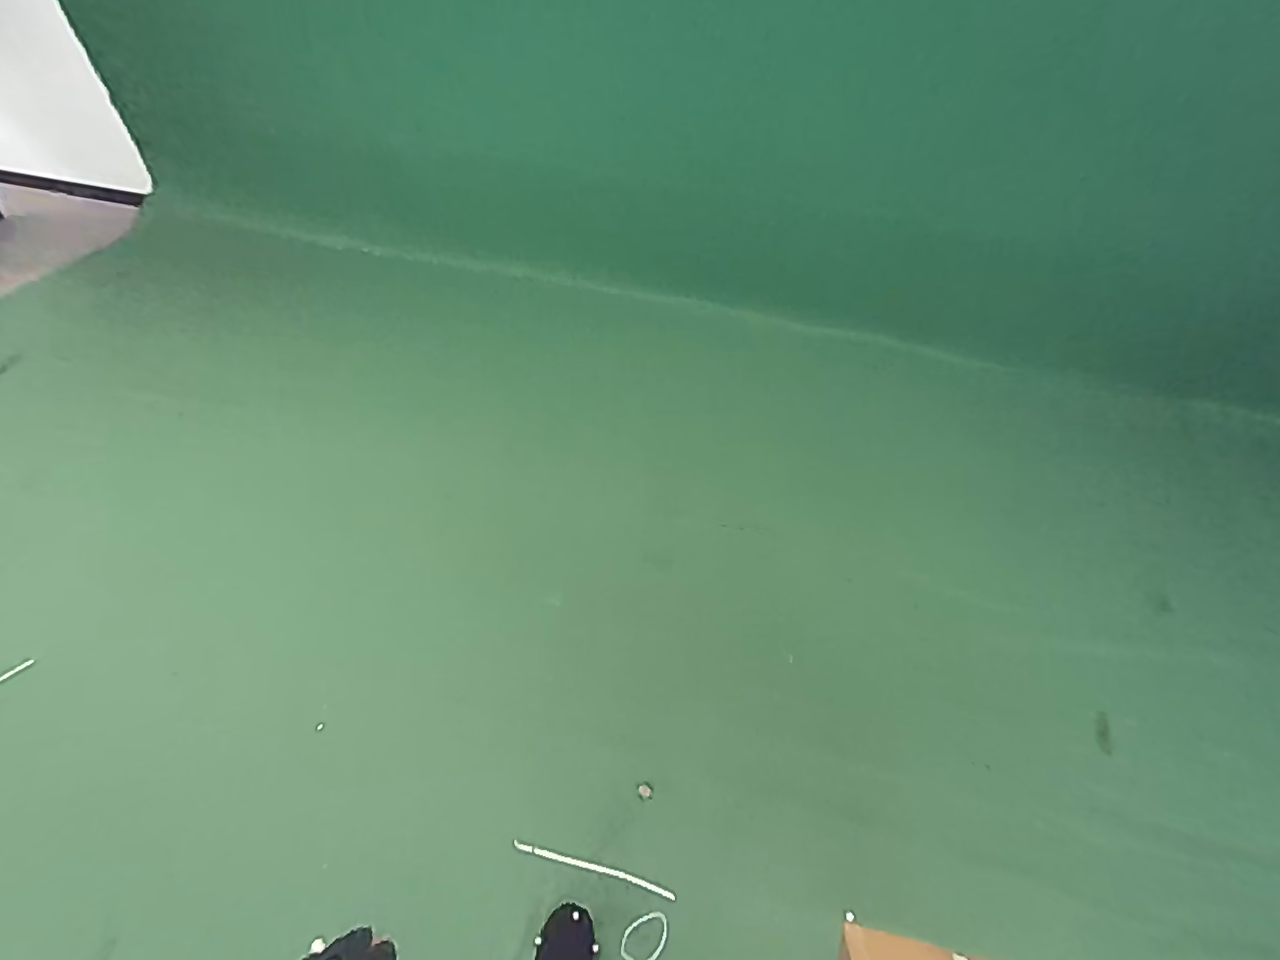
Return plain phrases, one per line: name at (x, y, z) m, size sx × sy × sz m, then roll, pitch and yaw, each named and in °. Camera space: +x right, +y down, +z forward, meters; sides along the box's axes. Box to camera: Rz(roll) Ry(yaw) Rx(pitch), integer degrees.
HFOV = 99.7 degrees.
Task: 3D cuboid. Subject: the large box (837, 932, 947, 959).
large box at (0.383, 0.816, 0.564) m, size 0.320 × 0.408 × 0.320 m, roll 11°, pitch 86°, yaw 11°
